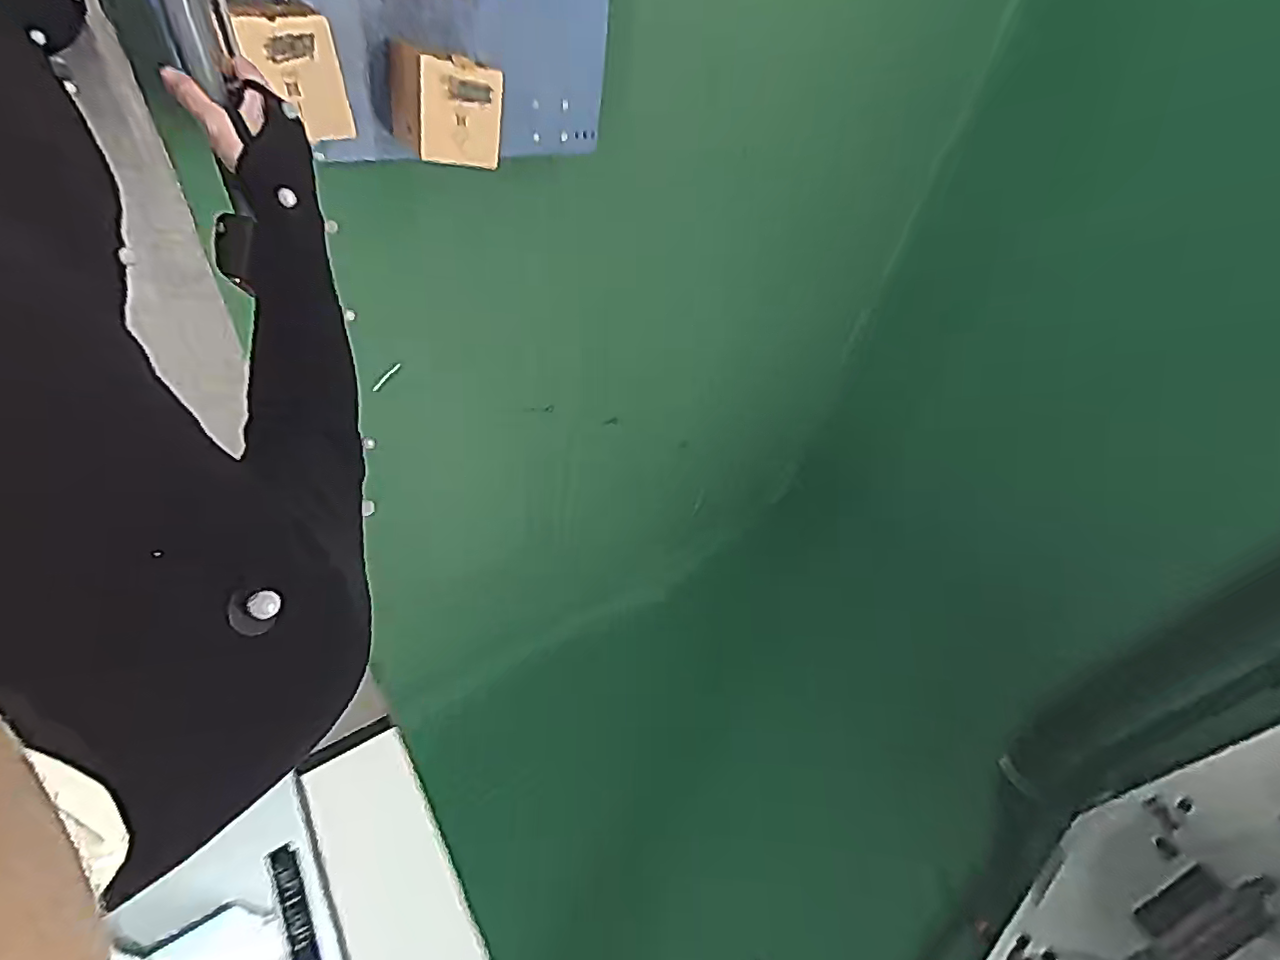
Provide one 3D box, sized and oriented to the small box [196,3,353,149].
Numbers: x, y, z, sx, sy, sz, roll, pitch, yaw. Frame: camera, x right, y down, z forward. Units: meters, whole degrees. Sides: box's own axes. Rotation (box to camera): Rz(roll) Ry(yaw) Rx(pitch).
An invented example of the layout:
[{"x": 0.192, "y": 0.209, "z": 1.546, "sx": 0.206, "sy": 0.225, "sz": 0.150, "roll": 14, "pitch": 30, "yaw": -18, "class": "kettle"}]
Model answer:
[{"x": -0.633, "y": -0.704, "z": 0.942, "sx": 0.168, "sy": 0.176, "sz": 0.179, "roll": -24, "pitch": 144, "yaw": -27, "class": "small box"}]
